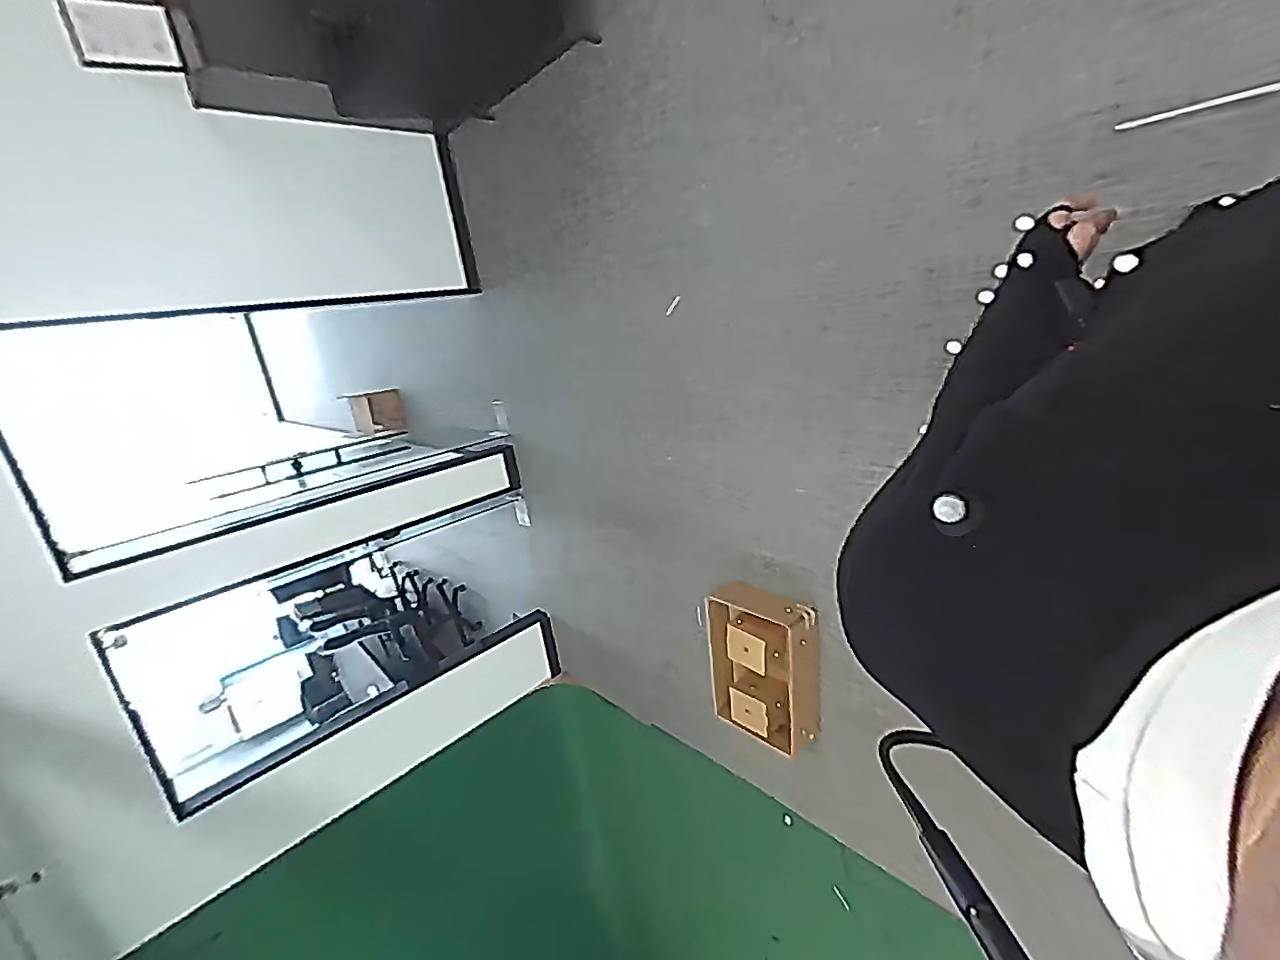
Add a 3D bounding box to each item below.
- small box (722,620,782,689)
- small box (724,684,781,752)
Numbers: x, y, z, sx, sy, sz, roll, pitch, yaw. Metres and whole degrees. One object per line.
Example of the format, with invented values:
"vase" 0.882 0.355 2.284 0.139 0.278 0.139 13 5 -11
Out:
"small box" 0.444 0.681 2.134 0.179 0.176 0.168 15 117 44
"small box" 0.467 0.968 2.221 0.179 0.176 0.168 11 111 46
